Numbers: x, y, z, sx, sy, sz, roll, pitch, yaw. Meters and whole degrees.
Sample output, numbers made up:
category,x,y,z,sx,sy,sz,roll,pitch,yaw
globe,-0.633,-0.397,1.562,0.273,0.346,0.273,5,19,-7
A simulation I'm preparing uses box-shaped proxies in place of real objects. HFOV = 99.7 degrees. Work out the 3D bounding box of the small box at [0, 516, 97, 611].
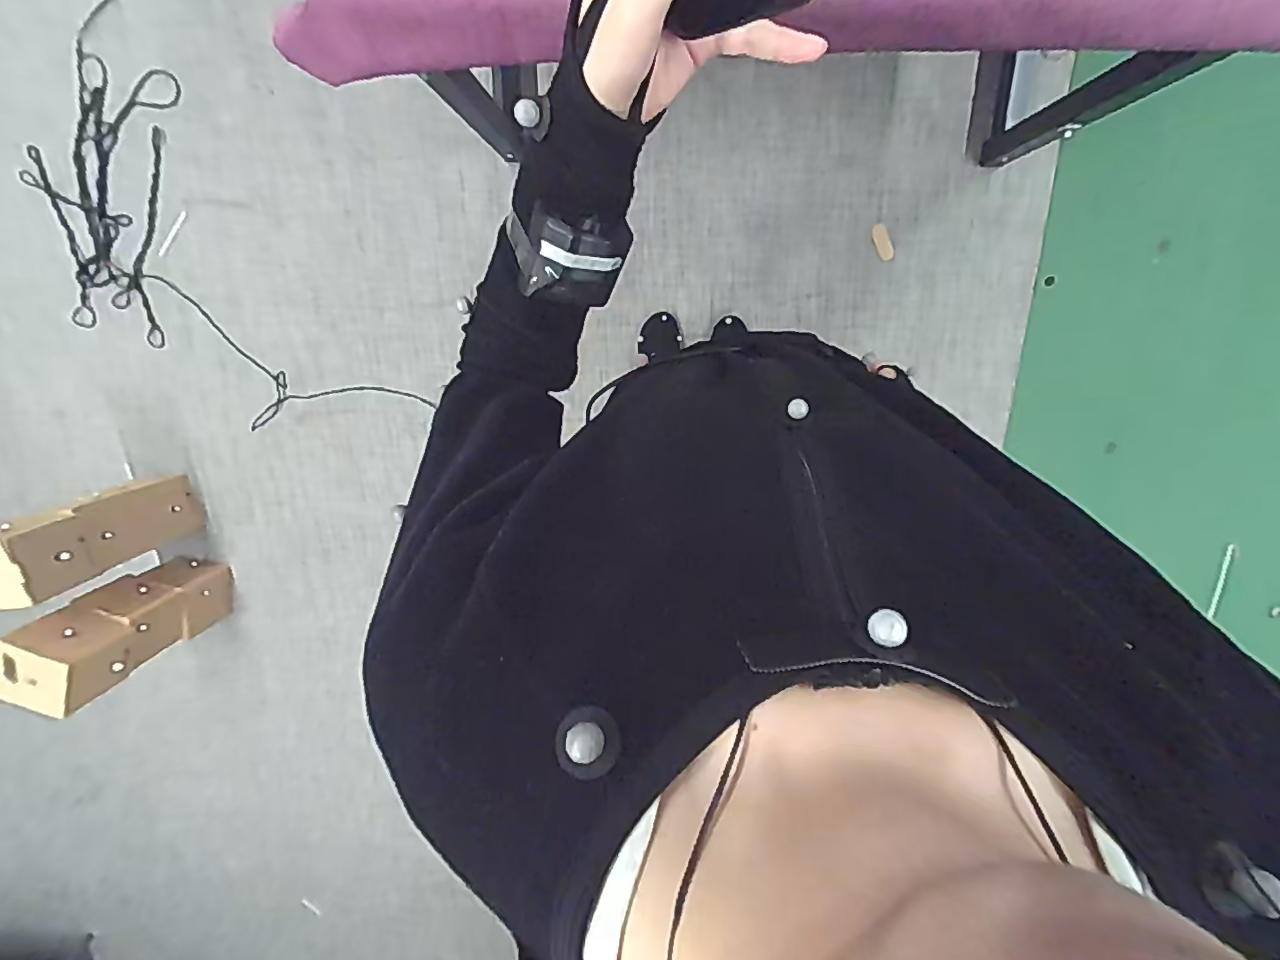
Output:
category,x,y,z,sx,sy,sz,roll,pitch,yaw
small box,-1.417,0.187,1.244,0.179,0.176,0.168,-4,106,2

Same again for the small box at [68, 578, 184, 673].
category,x,y,z,sx,sy,sz,roll,pitch,yaw
small box,-1.395,0.396,1.475,0.168,0.176,0.179,17,105,-1

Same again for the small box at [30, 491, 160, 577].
category,x,y,z,sx,sy,sz,roll,pitch,yaw
small box,-1.414,0.146,1.402,0.168,0.176,0.179,-11,105,5

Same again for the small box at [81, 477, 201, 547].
category,x,y,z,sx,sy,sz,roll,pitch,yaw
small box,-1.418,0.095,1.557,0.179,0.176,0.168,-7,105,6

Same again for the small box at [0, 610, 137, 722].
category,x,y,z,sx,sy,sz,roll,pitch,yaw
small box,-1.397,0.443,1.317,0.179,0.176,0.168,22,105,-3
